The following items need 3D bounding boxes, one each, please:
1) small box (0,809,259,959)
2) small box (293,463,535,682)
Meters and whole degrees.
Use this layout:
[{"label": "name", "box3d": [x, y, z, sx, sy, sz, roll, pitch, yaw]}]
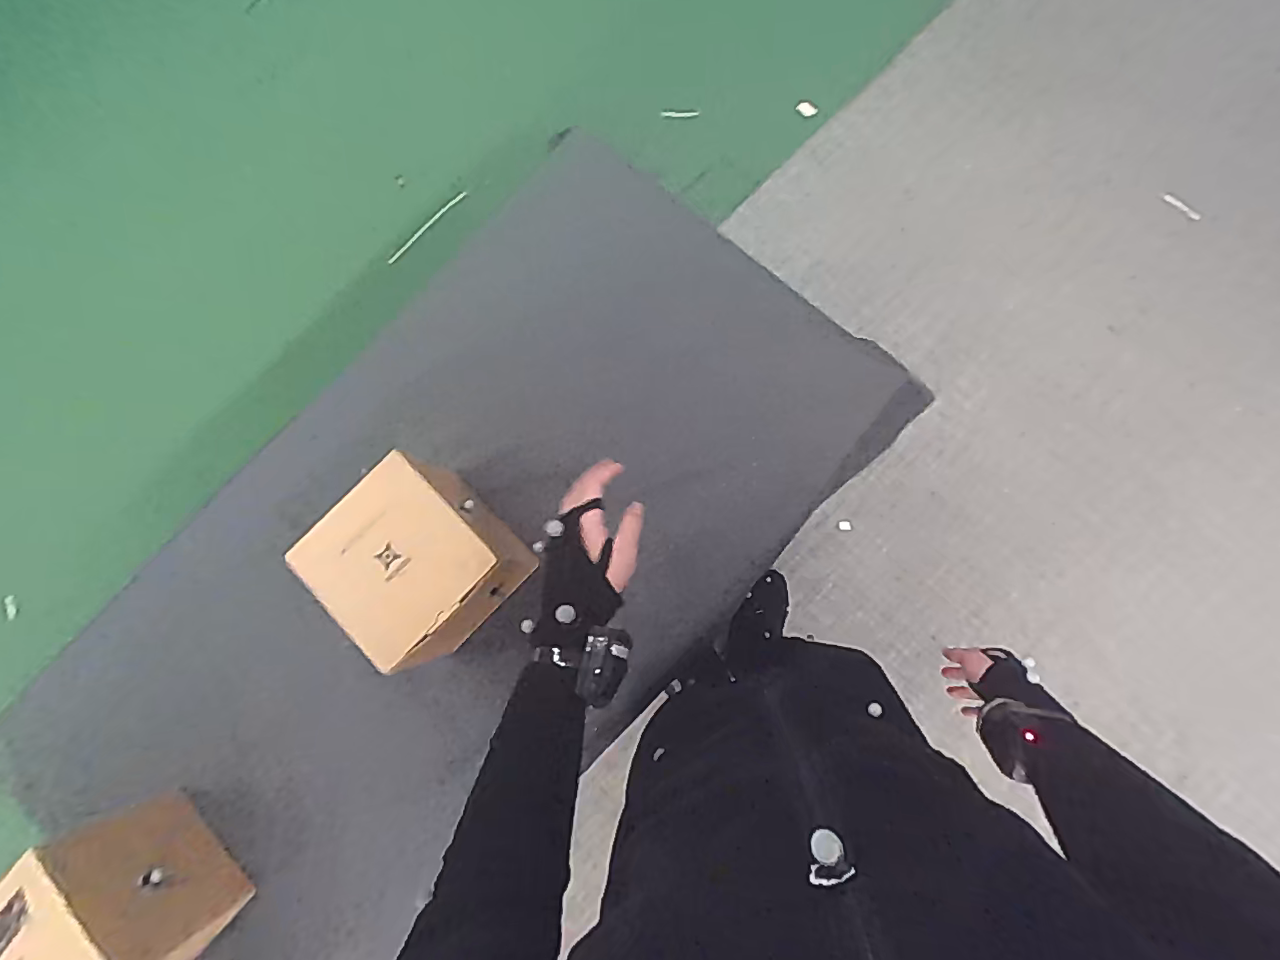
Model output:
[{"label": "small box", "box3d": [-0.596, 0.512, 0.610, 0.179, 0.176, 0.168, 42, 86, 9]}, {"label": "small box", "box3d": [-0.254, 0.107, 0.654, 0.179, 0.176, 0.168, 43, 85, 10]}]
